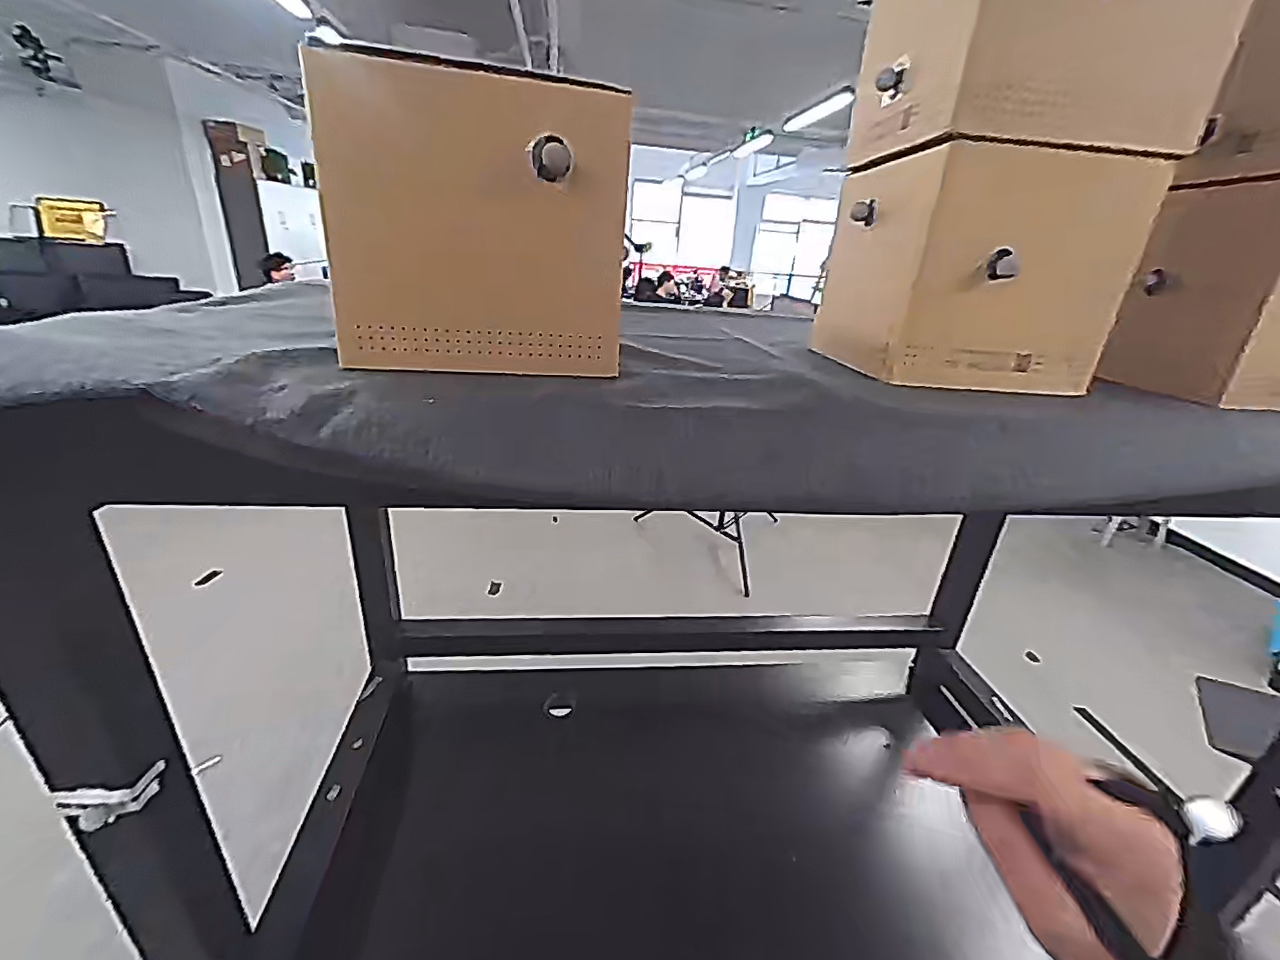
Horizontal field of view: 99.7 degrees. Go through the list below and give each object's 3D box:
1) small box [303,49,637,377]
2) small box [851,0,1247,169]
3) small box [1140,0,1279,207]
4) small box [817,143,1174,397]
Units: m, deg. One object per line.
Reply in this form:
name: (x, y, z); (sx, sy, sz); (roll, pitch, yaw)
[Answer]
small box: (-0.106, -0.172, 0.391); (0.179, 0.176, 0.168); (-1, 22, -12)
small box: (0.281, -0.321, 0.392); (0.179, 0.176, 0.168); (1, 22, -4)
small box: (0.541, -0.310, 0.413); (0.179, 0.176, 0.168); (0, 21, -6)
small box: (0.271, -0.173, 0.464); (0.168, 0.176, 0.179); (2, 22, -5)
